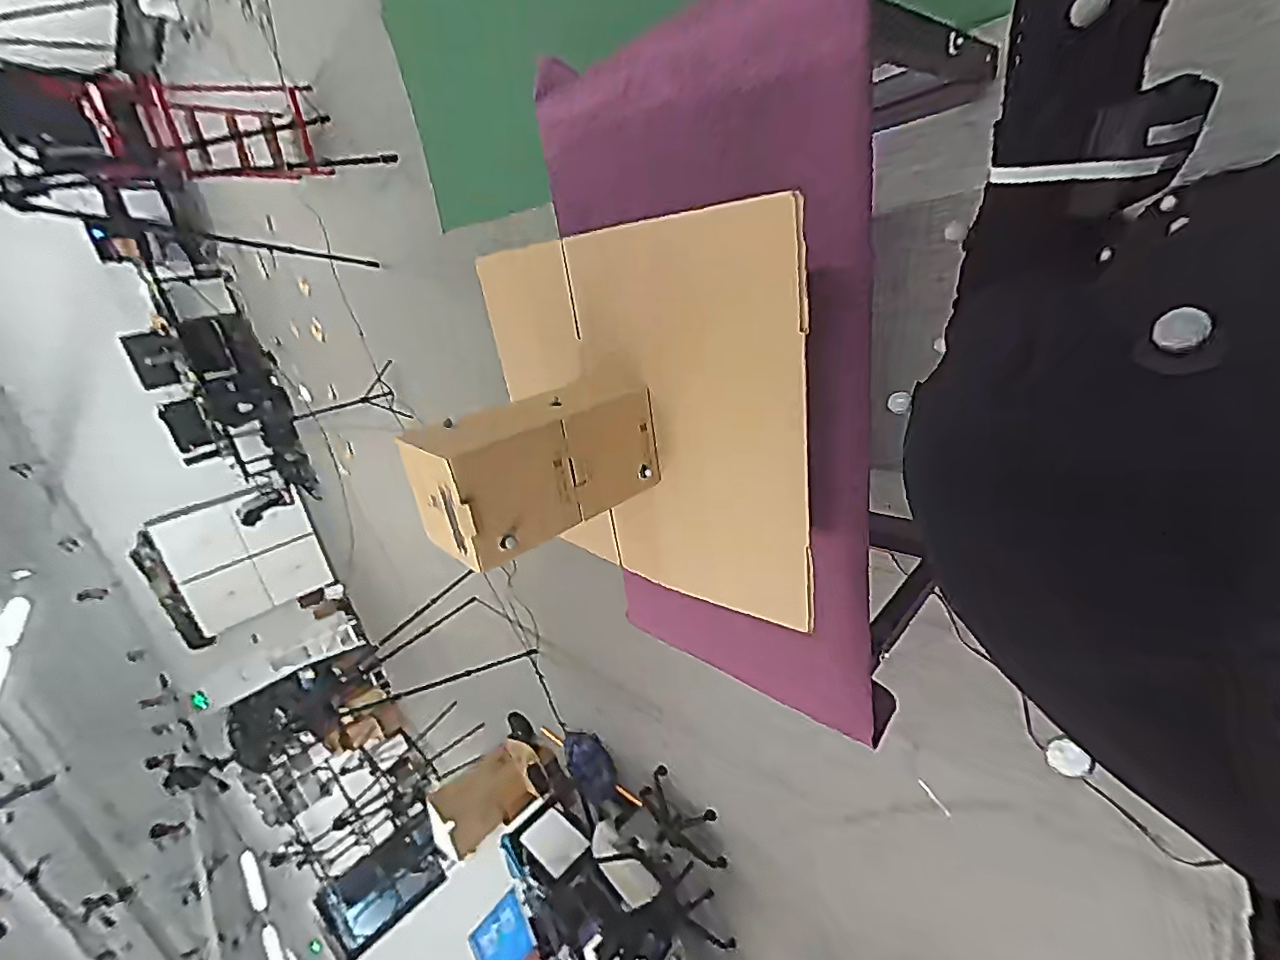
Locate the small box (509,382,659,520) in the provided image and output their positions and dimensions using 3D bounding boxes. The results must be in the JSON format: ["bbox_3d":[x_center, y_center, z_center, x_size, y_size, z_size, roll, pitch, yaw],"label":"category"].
[{"bbox_3d":[-0.083,-0.058,0.883,0.179,0.176,0.168,16,123,45],"label":"small box"}]
